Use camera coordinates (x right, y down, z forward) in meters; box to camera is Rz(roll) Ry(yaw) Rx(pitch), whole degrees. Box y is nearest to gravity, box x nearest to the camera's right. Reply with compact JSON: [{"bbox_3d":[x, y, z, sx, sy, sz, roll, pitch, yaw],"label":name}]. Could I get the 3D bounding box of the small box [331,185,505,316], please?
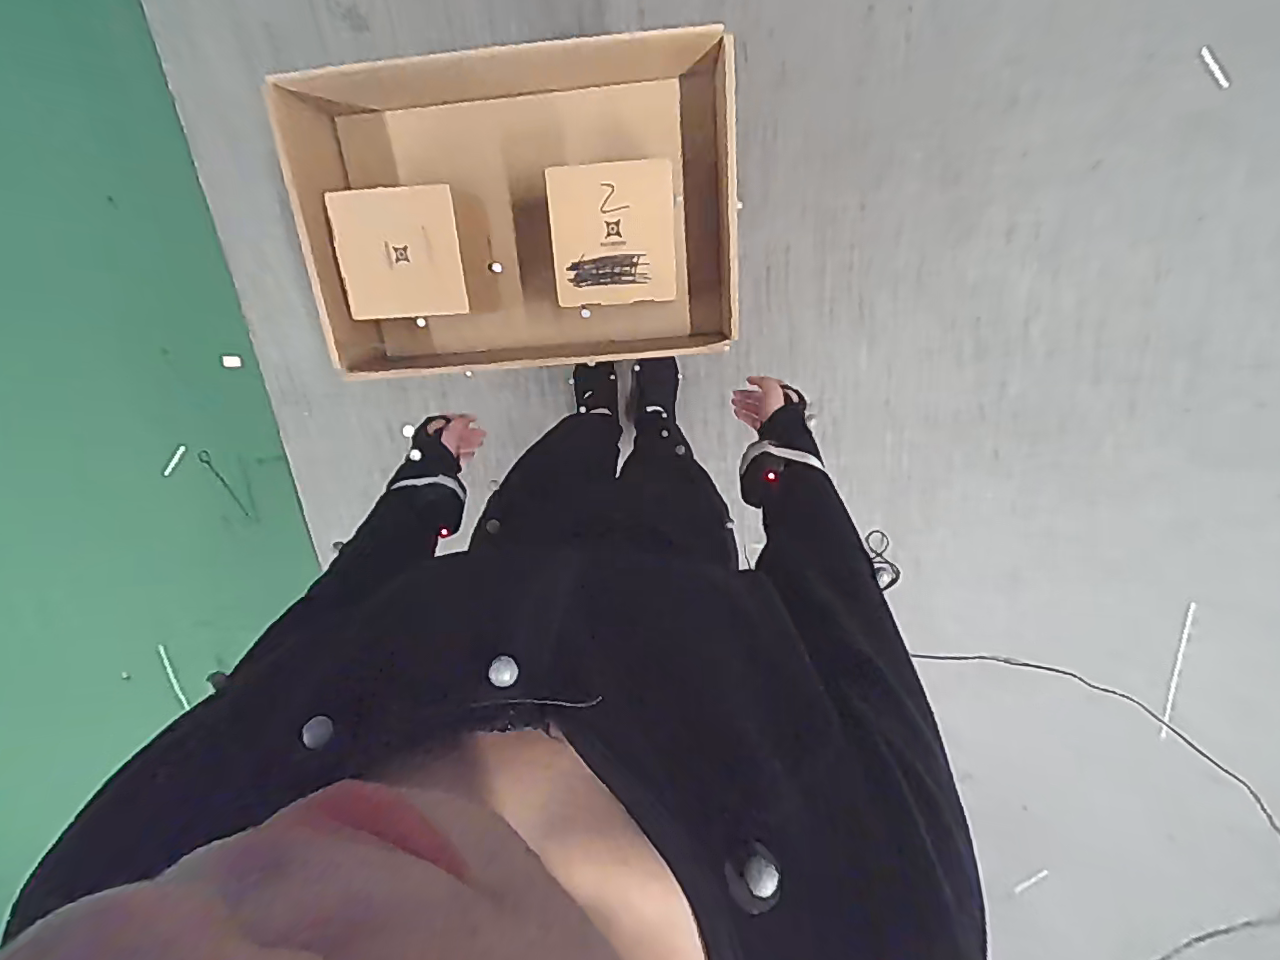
[{"bbox_3d":[-0.320,-0.336,0.816,0.179,0.176,0.168,-1,110,3],"label":"small box"}]
